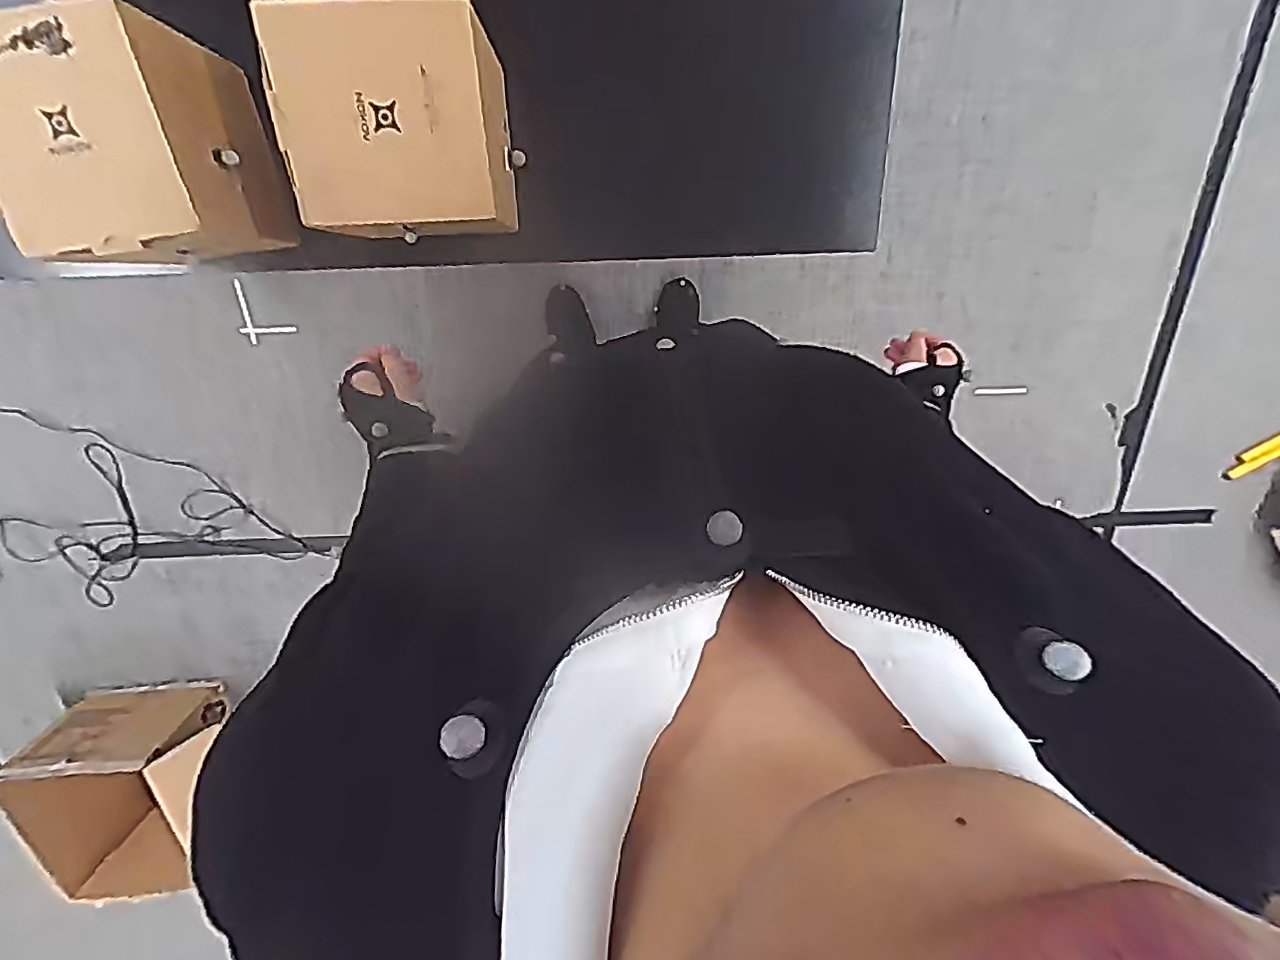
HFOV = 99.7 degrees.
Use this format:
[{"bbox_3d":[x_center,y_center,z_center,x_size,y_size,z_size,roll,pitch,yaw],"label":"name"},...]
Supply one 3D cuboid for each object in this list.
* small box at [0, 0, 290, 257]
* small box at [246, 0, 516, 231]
[{"bbox_3d":[-0.486,-0.321,0.525,0.168,0.176,0.179,-9,112,-1],"label":"small box"},{"bbox_3d":[-0.230,-0.345,0.535,0.179,0.176,0.168,-4,112,-3],"label":"small box"}]
